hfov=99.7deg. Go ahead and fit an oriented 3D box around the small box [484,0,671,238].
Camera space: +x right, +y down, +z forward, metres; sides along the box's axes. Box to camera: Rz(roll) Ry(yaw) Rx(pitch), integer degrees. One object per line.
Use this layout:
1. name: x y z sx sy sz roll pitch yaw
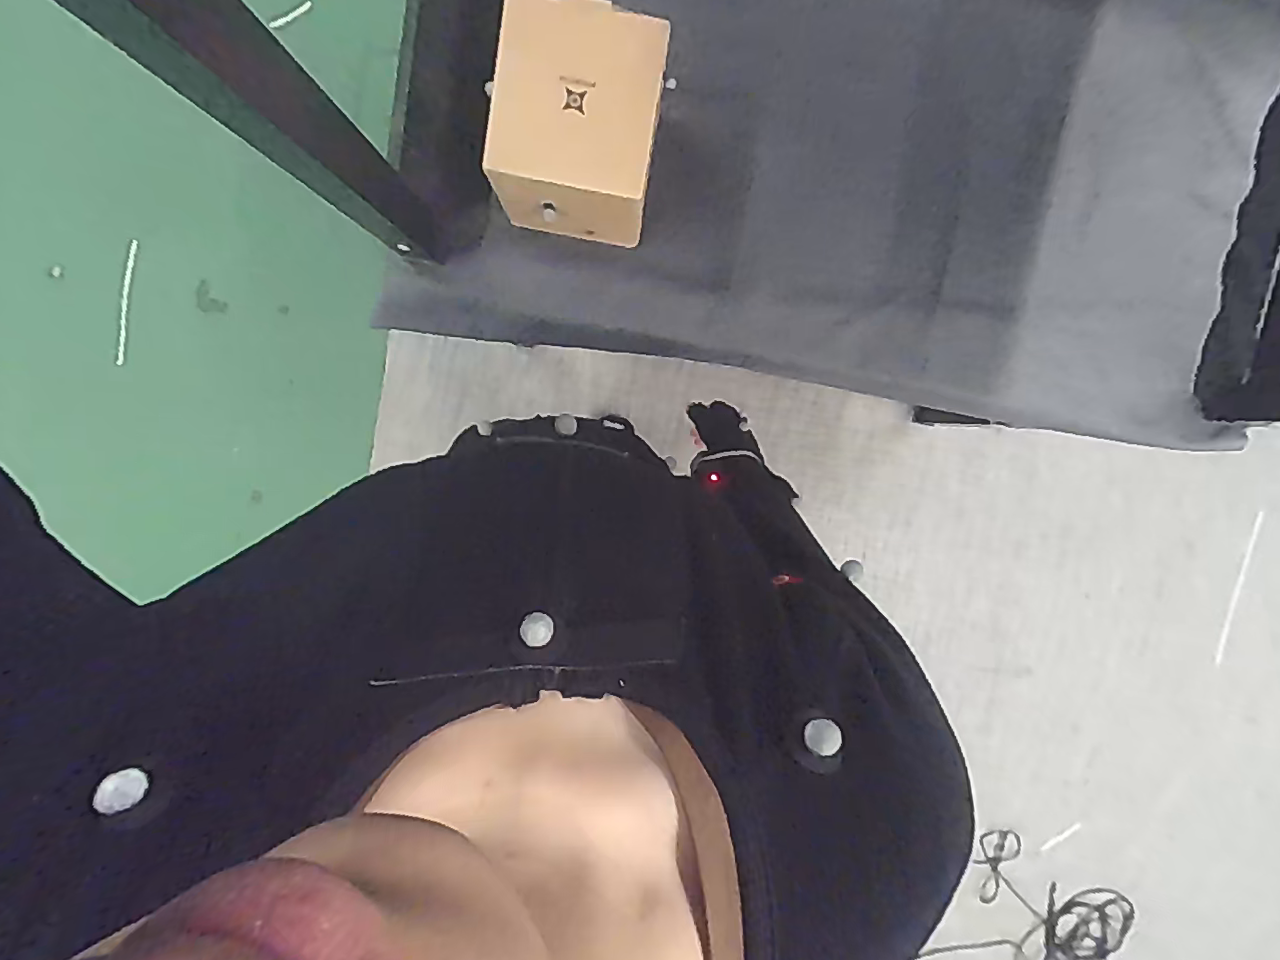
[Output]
1. small box: -0.065 -0.396 0.612 0.168 0.176 0.179 9 96 -4
